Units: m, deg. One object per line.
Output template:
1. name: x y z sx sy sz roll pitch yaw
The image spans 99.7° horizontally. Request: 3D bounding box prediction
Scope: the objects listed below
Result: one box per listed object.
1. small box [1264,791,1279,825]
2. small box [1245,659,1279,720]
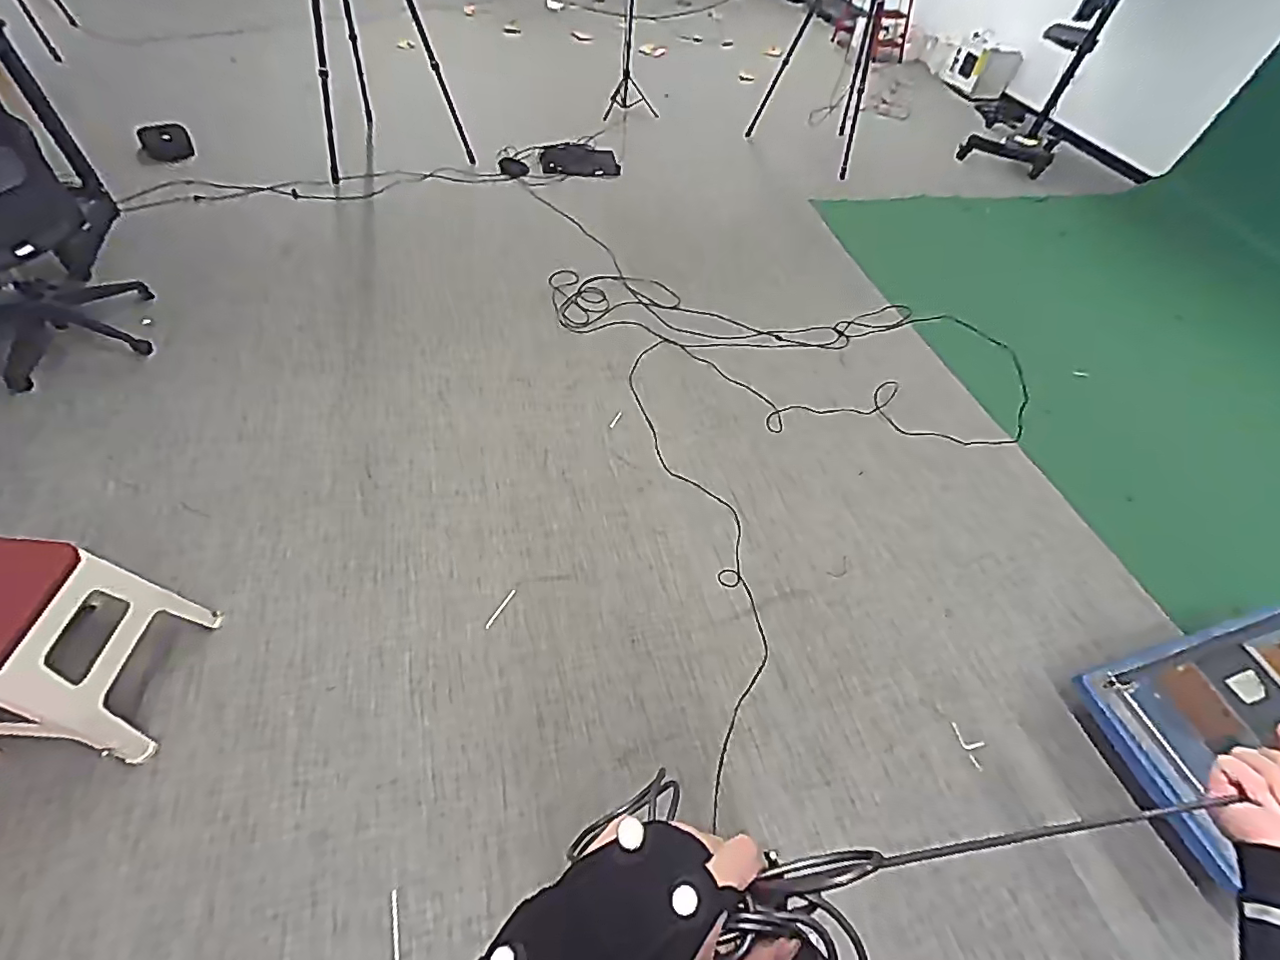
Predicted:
1. small box: 1.654 0.798 1.259 0.179 0.176 0.168 -9 54 -13
2. small box: 1.826 0.563 1.463 0.179 0.176 0.168 -13 55 -16
